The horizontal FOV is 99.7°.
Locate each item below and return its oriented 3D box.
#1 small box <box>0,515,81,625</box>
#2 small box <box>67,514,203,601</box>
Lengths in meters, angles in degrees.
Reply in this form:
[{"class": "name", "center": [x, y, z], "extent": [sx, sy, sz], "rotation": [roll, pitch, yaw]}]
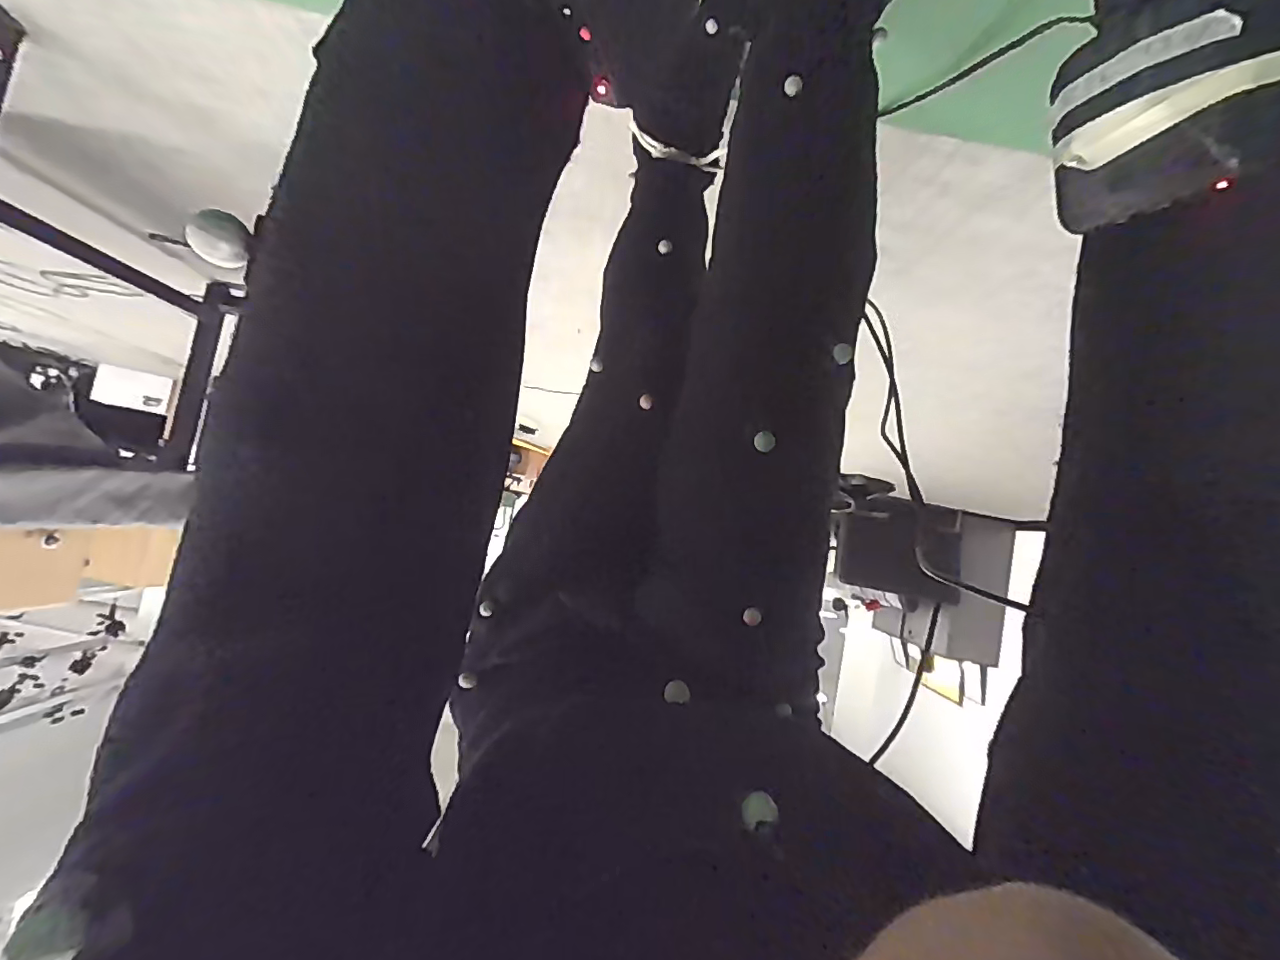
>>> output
[{"class": "small box", "center": [-1.161, 0.156, 0.959], "extent": [0.179, 0.176, 0.168], "rotation": [9, 177, 6]}, {"class": "small box", "center": [-1.187, 0.178, 1.283], "extent": [0.179, 0.176, 0.168], "rotation": [10, 176, 4]}]
